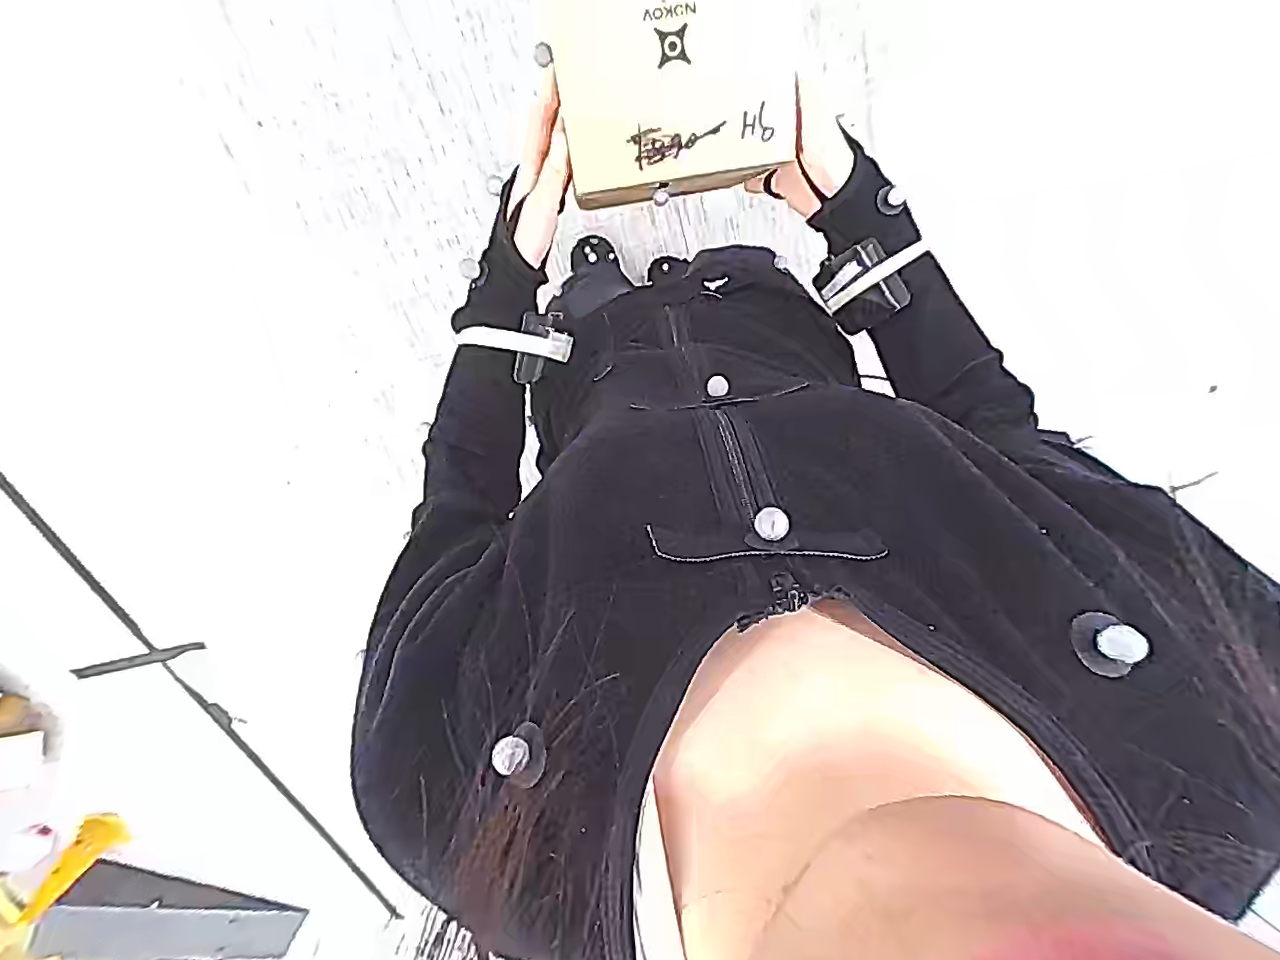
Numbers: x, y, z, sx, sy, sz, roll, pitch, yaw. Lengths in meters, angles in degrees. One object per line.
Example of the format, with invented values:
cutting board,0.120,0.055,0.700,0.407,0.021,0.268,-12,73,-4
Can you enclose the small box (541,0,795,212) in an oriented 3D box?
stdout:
small box,0.013,-0.327,0.433,0.168,0.176,0.179,-10,113,-2

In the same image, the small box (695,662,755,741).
small box,0.294,0.768,1.883,0.168,0.176,0.179,-15,115,6

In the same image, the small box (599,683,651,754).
small box,-0.054,0.841,1.913,0.179,0.176,0.168,1,115,-3
